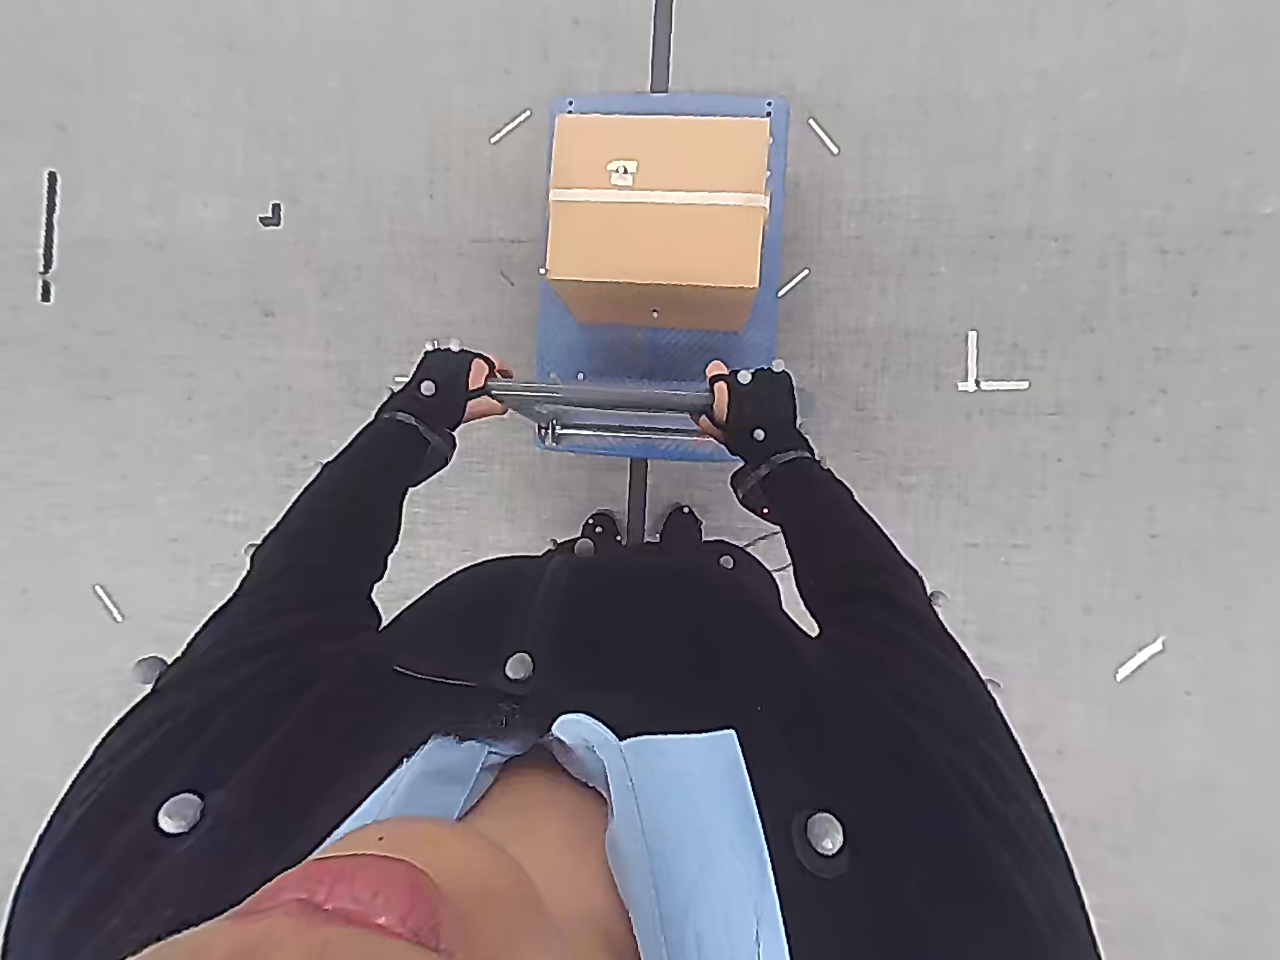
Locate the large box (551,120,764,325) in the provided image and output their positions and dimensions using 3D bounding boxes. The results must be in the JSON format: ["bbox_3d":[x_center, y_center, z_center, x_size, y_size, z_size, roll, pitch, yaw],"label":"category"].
[{"bbox_3d":[0.047,-0.533,1.181,0.408,0.320,0.320,4,90,6],"label":"large box"}]
